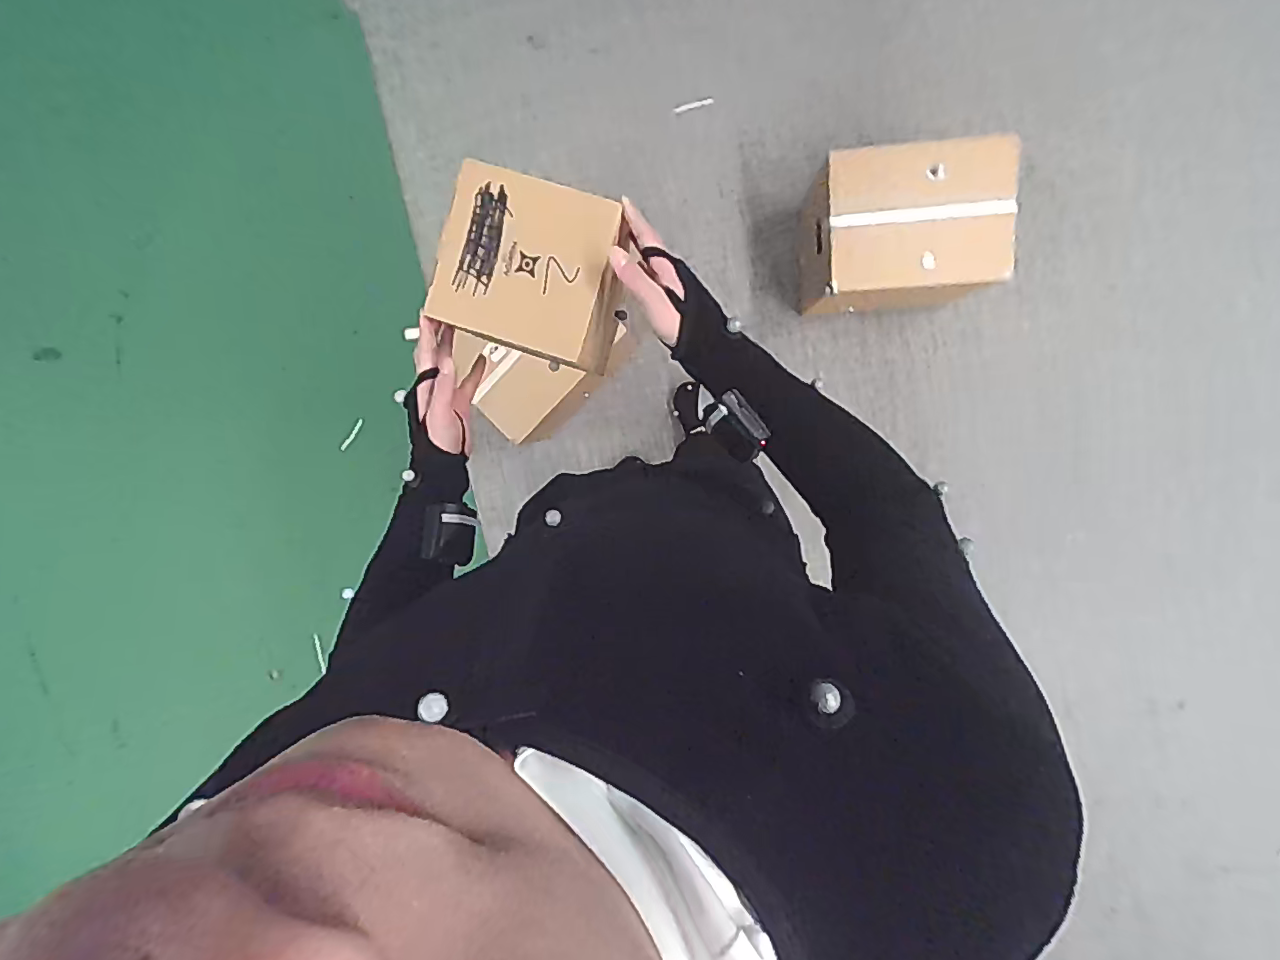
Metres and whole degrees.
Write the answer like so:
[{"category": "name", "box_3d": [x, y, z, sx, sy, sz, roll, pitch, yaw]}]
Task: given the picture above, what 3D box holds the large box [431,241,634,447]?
[{"category": "large box", "box_3d": [-0.267, -0.349, 1.467, 0.320, 0.320, 0.408, 44, 99, -1]}]
